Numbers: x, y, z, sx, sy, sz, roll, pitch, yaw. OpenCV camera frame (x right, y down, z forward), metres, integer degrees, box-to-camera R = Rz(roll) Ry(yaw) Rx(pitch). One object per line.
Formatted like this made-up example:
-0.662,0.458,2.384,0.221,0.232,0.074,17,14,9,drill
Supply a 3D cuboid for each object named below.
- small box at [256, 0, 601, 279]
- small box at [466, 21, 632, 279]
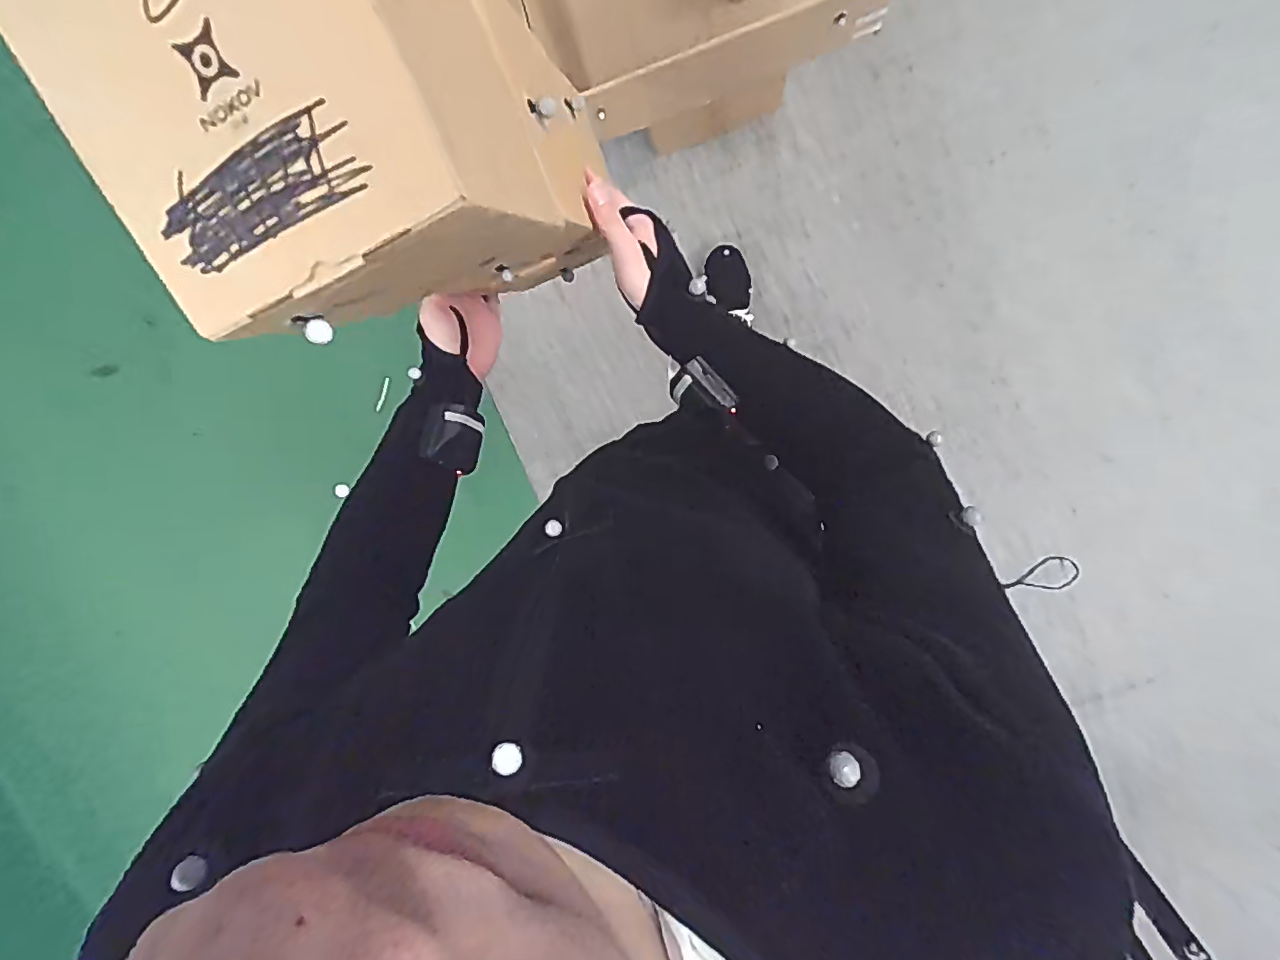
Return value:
-0.146,-0.280,0.444,0.168,0.176,0.179,-17,110,14,small box
-0.121,-0.336,0.594,0.168,0.176,0.179,-17,109,15,small box
